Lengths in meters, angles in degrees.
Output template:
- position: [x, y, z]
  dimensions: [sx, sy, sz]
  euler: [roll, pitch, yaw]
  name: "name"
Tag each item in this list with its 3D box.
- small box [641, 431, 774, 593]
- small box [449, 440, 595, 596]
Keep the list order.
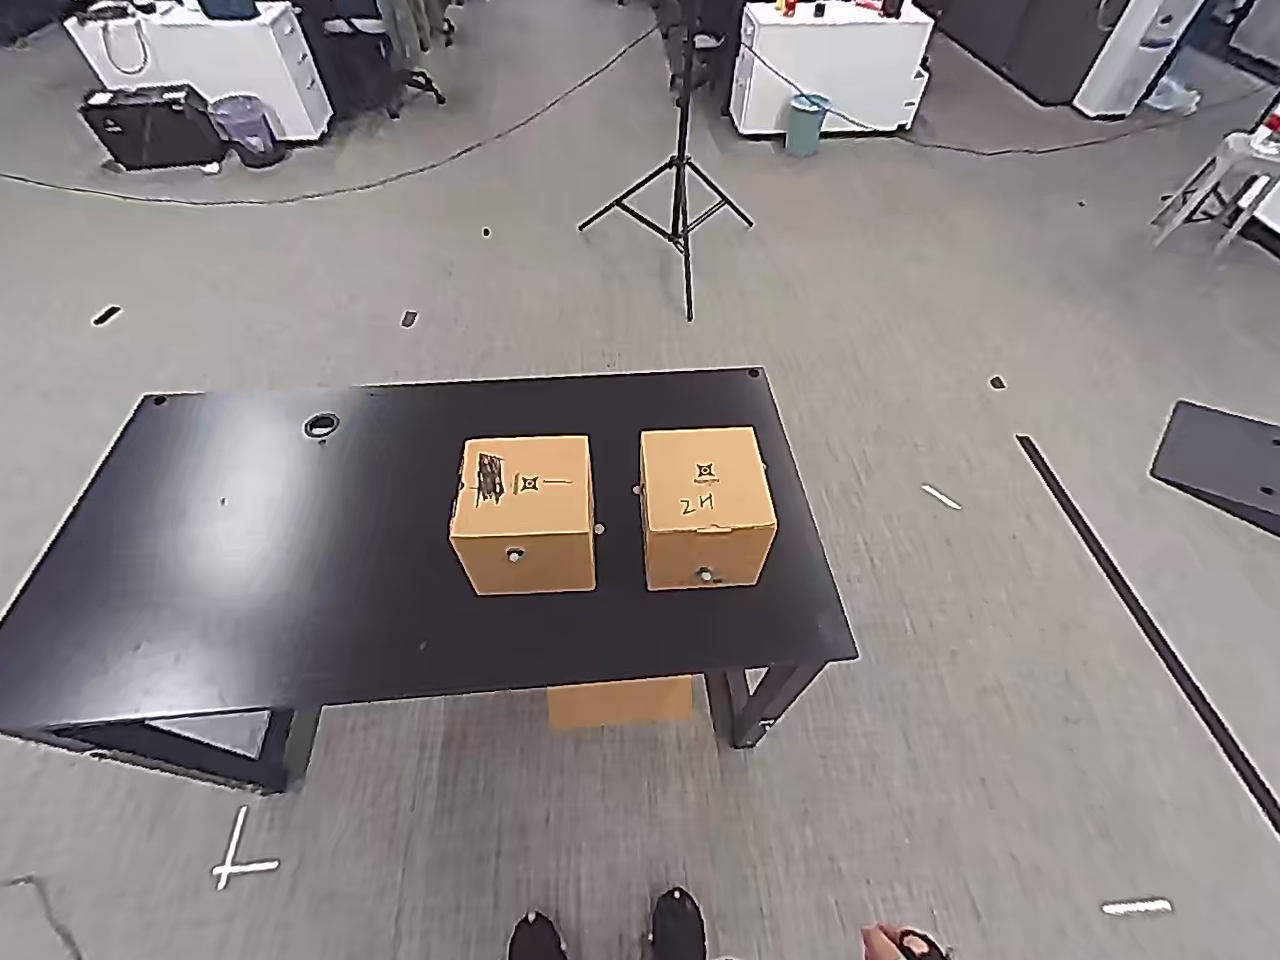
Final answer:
- position: [0.086, 0.049, 0.800]
  dimensions: [0.168, 0.176, 0.179]
  euler: [-3, 53, -1]
  name: "small box"
- position: [-0.158, 0.060, 0.789]
  dimensions: [0.179, 0.176, 0.168]
  euler: [-2, 53, -3]
  name: "small box"
